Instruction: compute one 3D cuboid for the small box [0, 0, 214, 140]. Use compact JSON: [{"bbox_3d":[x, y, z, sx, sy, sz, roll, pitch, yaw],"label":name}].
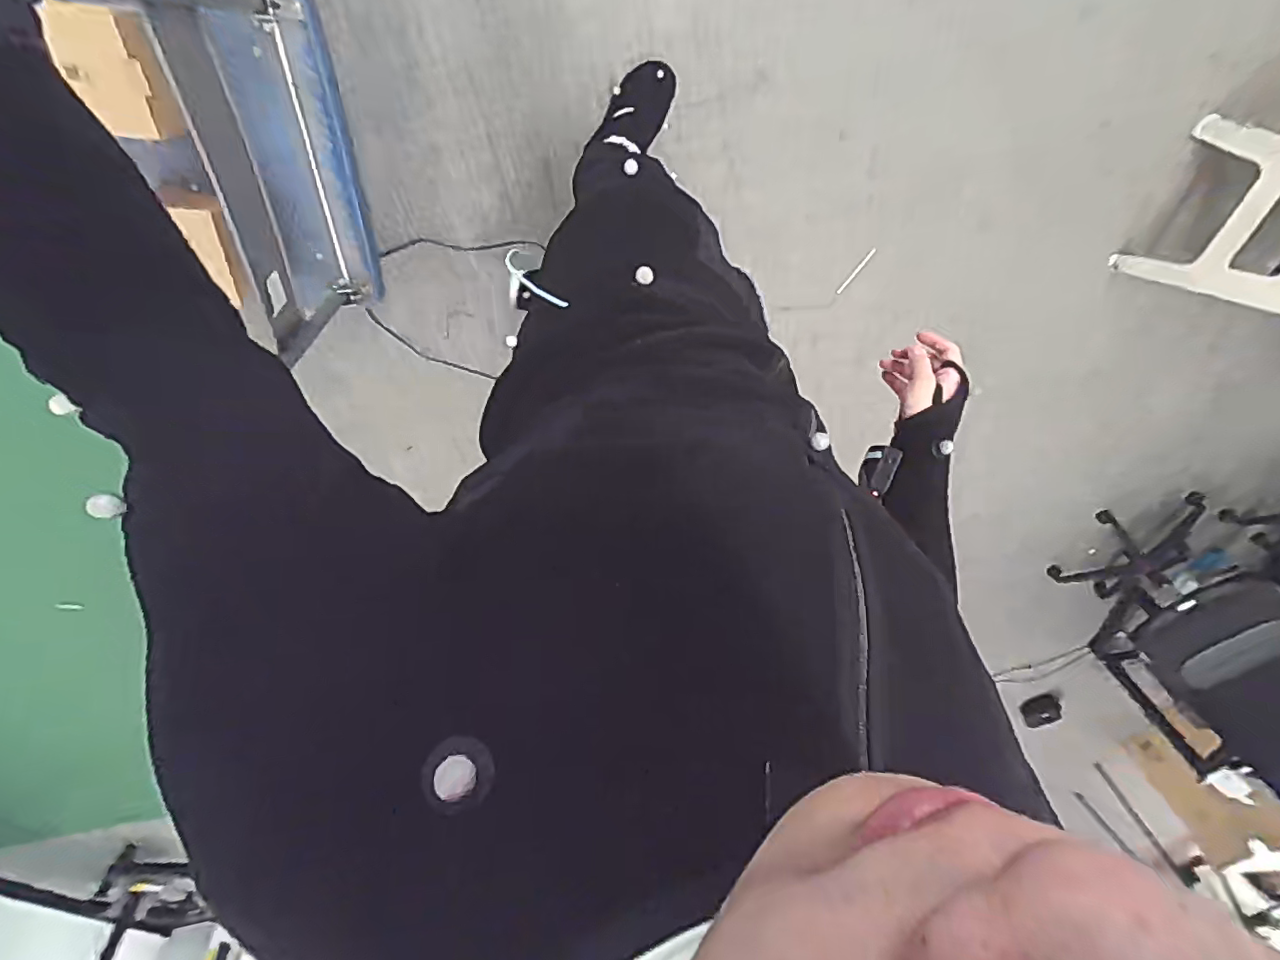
[{"bbox_3d":[-0.866,-0.672,0.892,0.179,0.176,0.168,-2,129,-8],"label":"small box"}]
